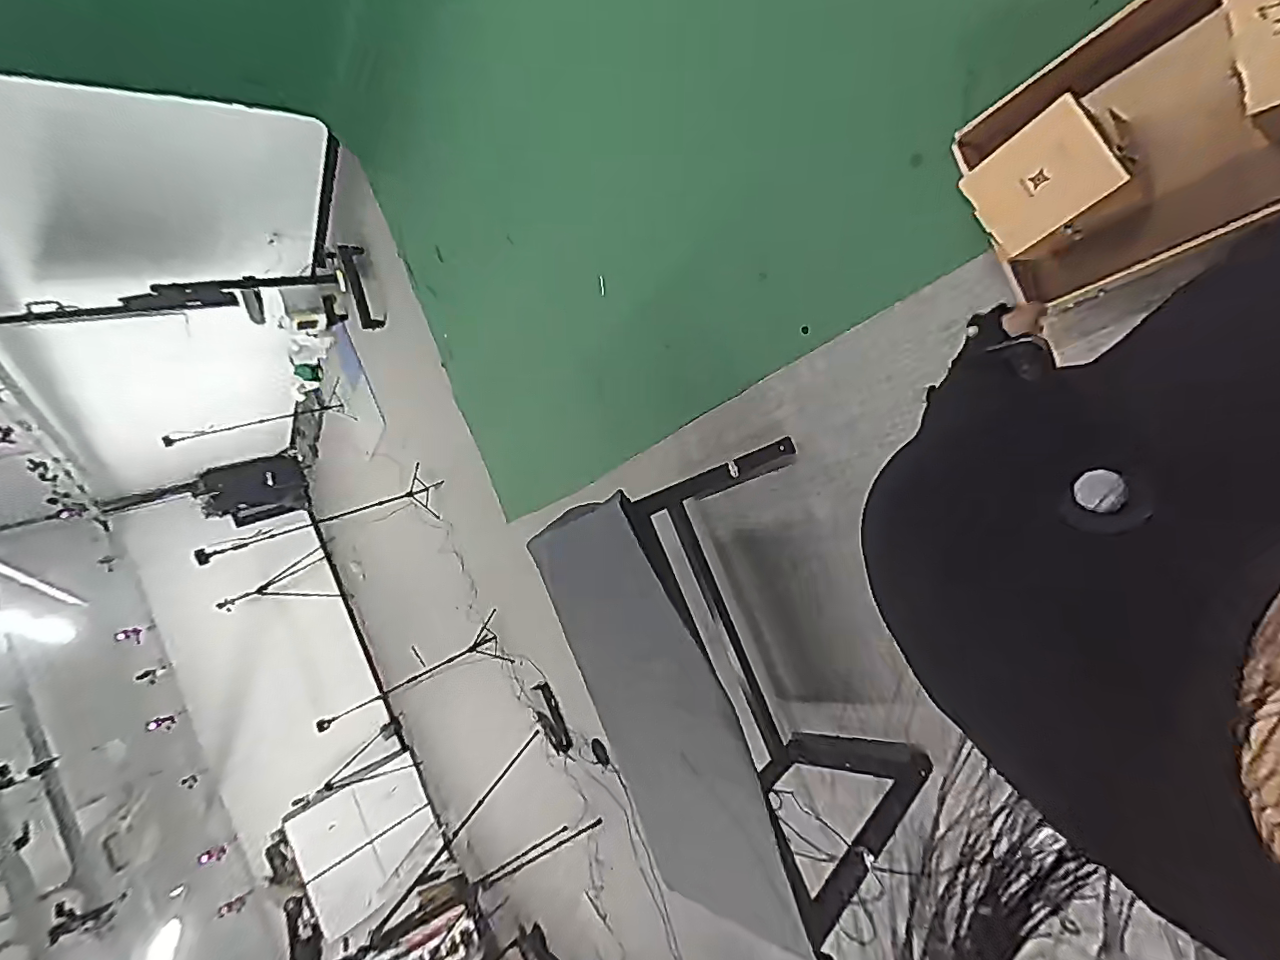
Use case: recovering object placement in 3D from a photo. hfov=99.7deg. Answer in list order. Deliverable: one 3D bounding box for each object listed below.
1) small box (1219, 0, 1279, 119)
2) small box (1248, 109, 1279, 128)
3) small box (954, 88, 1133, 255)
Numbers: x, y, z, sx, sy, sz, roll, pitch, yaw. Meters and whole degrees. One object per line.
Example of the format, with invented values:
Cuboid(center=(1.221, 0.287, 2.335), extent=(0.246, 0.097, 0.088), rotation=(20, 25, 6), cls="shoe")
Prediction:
Cuboid(center=(0.860, -0.588, 0.671), extent=(0.179, 0.176, 0.168), rotation=(-13, 98, 51), cls="small box")
Cuboid(center=(0.977, -0.642, 0.774), extent=(0.168, 0.176, 0.179), rotation=(-13, 98, 51), cls="small box")
Cuboid(center=(0.680, -0.506, 0.913), extent=(0.179, 0.176, 0.168), rotation=(-36, 80, 48), cls="small box")
